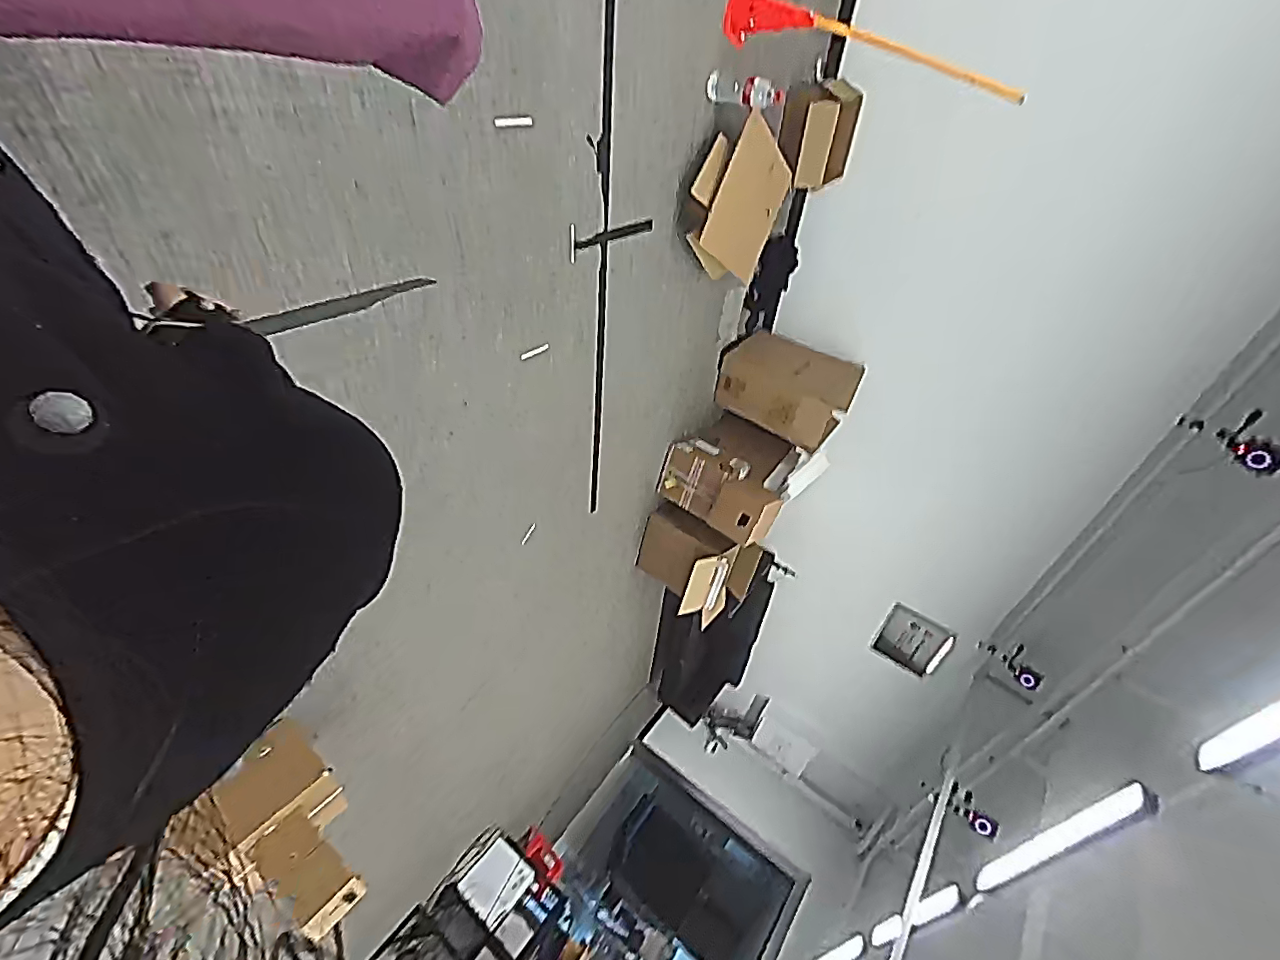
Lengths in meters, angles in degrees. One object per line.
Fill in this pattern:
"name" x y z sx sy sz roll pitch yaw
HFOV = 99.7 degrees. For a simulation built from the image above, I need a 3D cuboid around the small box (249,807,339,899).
"small box" -1.167 1.252 1.824 0.179 0.176 0.168 -38 146 -38
